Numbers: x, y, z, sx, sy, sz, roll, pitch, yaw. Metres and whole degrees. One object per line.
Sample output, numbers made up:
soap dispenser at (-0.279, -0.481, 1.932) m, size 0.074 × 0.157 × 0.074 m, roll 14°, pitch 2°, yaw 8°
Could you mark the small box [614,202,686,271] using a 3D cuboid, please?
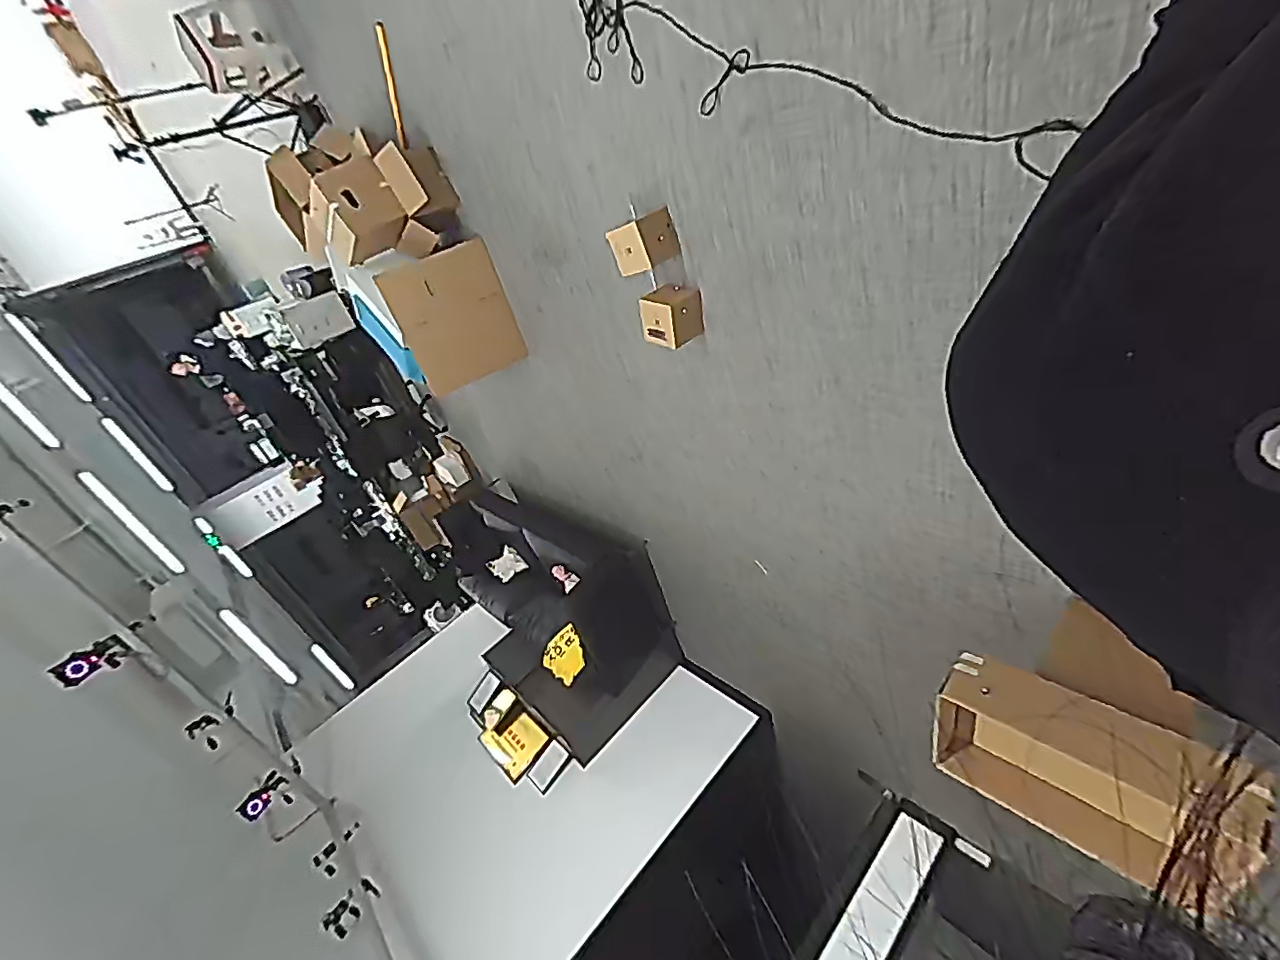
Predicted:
small box at (0.045, -0.887, 1.966) m, size 0.179 × 0.176 × 0.168 m, roll 12°, pitch 134°, yaw 52°
